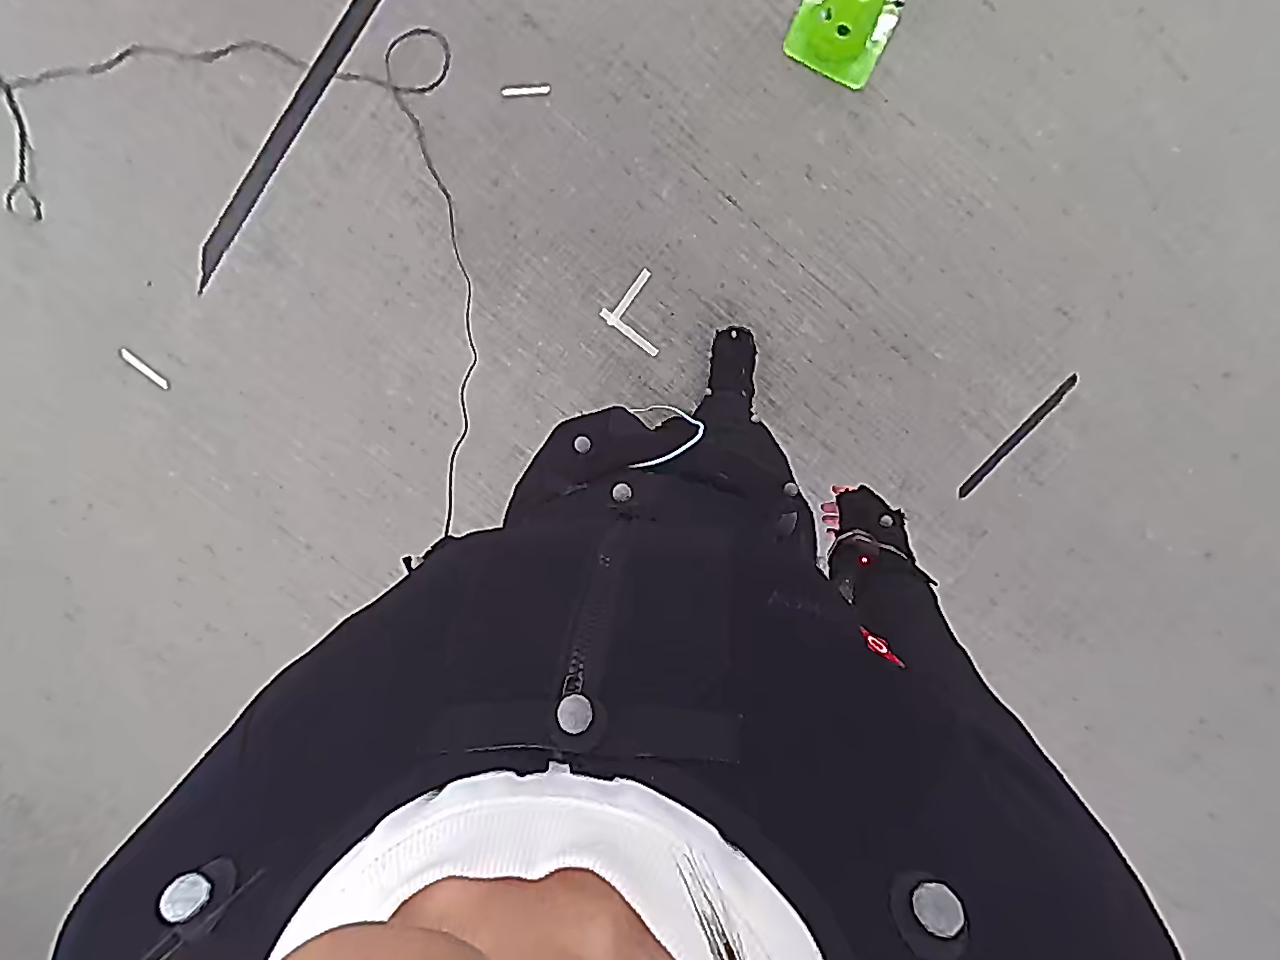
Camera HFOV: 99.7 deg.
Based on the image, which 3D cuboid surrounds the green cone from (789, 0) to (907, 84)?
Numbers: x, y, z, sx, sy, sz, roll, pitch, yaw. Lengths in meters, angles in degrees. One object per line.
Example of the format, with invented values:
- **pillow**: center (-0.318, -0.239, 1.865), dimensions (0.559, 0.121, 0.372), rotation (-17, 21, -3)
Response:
- **green cone**: center (0.440, -0.957, 1.007), dimensions (0.200, 0.368, 0.202), rotation (24, 104, -3)
